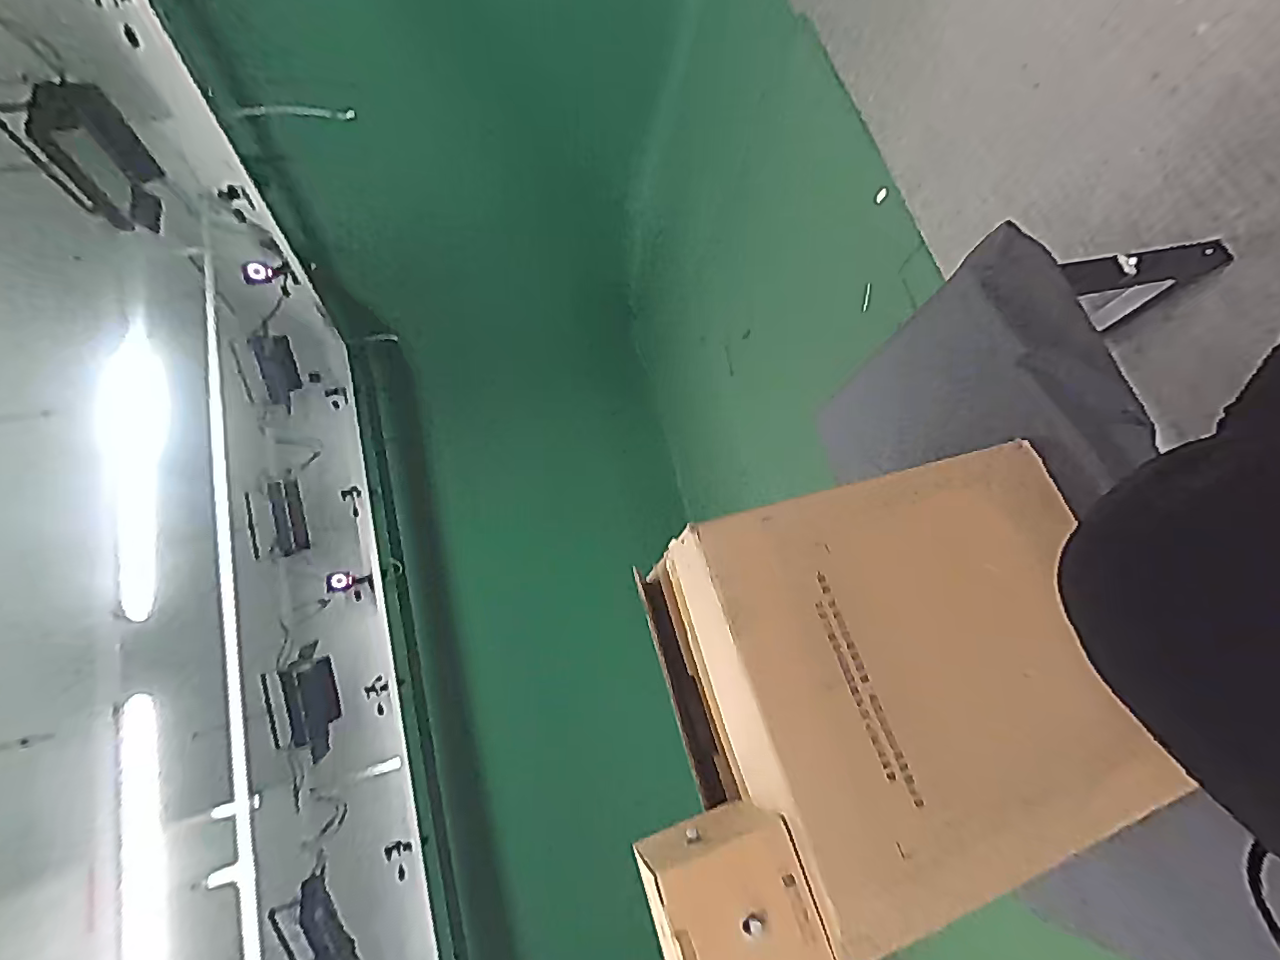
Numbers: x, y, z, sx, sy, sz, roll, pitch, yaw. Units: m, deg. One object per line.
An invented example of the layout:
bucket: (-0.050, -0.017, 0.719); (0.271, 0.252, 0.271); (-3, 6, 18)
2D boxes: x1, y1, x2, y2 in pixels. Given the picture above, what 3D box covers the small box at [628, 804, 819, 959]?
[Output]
small box: (0.101, 0.534, 0.681); (0.179, 0.176, 0.168); (113, 142, -63)
